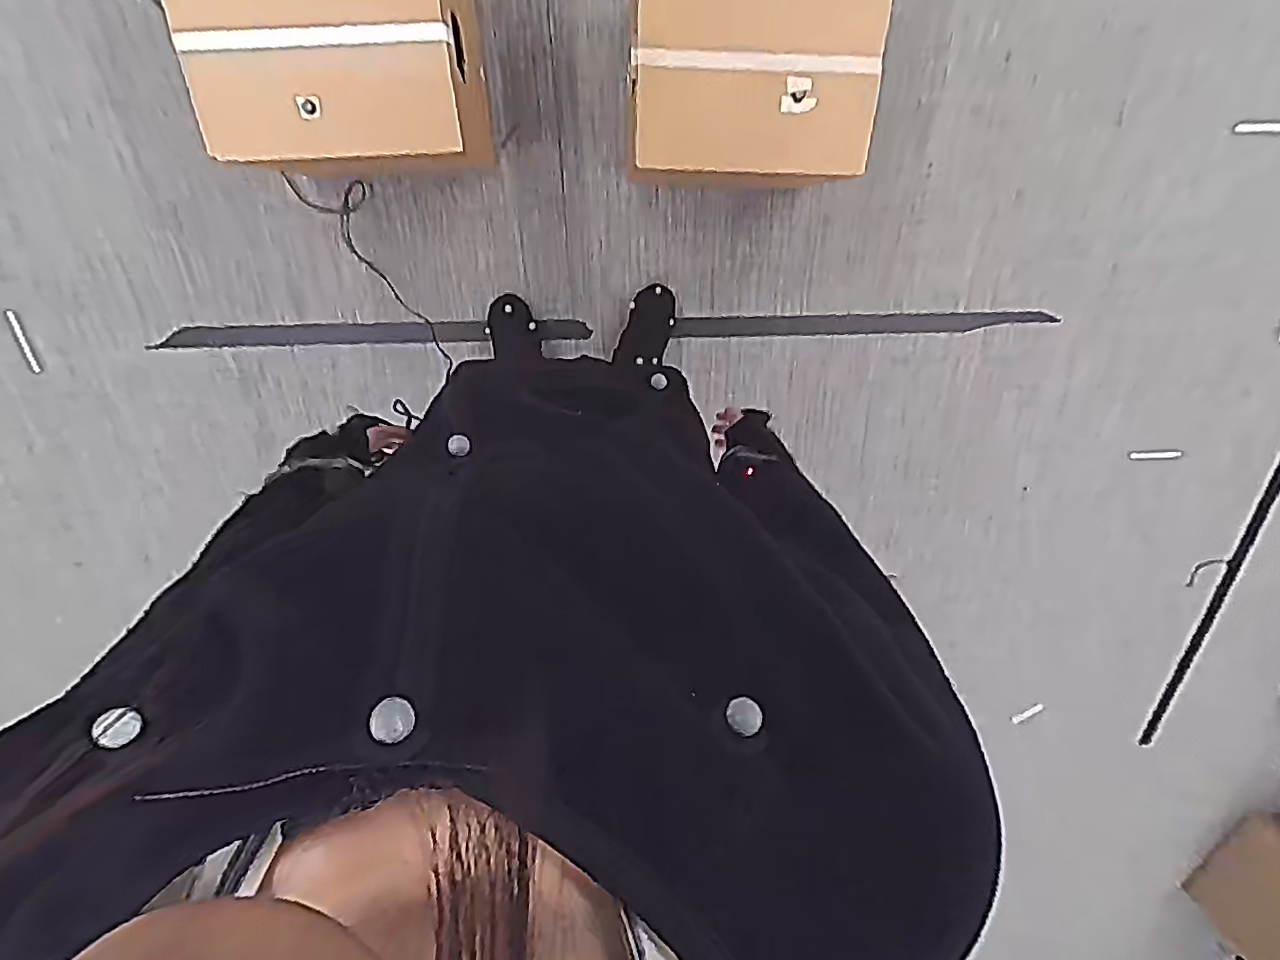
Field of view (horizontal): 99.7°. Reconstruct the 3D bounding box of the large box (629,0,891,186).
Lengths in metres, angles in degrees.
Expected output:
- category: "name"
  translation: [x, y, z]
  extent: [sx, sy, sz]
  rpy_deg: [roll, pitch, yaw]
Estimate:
- category: "large box"
  translation: [0.188, -0.743, 1.015]
  extent: [0.408, 0.320, 0.320]
  rpy_deg: [0, 115, -5]
